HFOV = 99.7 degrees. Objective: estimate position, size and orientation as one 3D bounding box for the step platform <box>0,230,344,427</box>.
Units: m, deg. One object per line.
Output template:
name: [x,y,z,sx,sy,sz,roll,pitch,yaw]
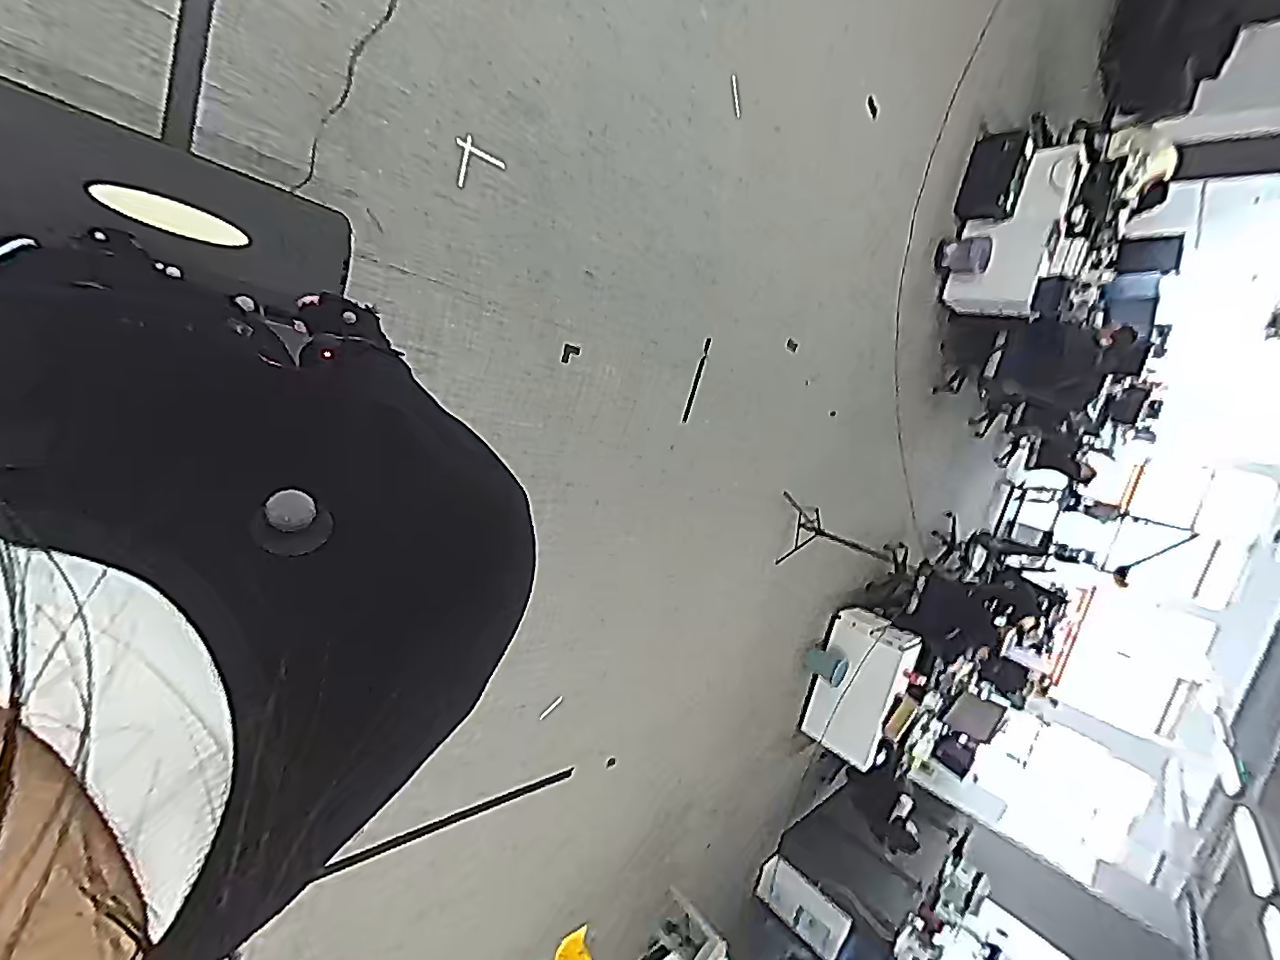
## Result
step platform: [-1.021,-0.297,1.152,0.684,0.204,0.286,5,102,-45]
